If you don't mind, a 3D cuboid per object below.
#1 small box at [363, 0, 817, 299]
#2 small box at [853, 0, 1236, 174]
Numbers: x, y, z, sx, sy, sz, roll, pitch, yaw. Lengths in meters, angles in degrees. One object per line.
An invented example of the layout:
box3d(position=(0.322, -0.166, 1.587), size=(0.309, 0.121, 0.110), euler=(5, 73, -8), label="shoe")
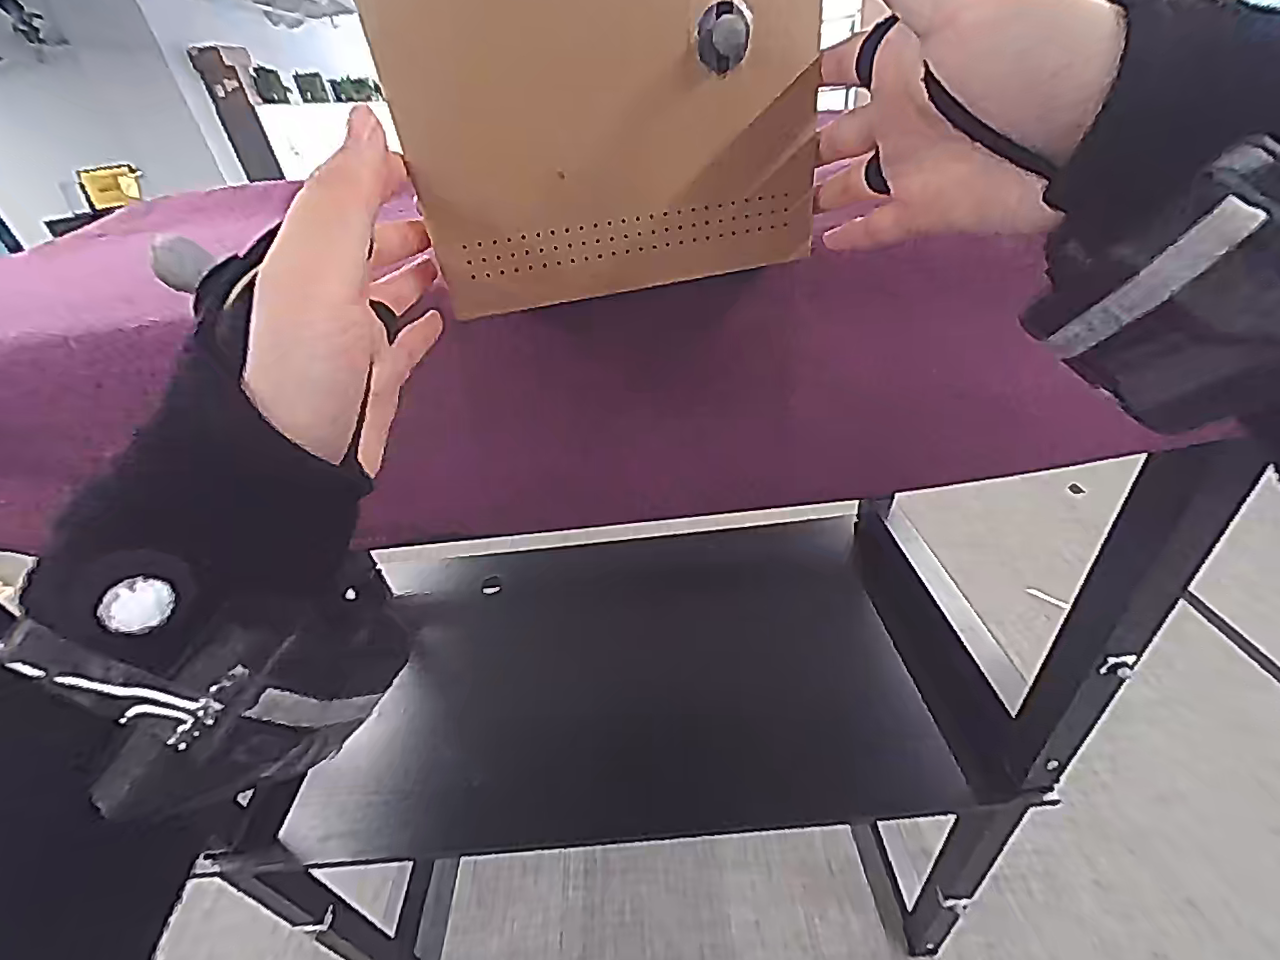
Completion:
box3d(position=(-0.024, -0.207, 0.274), size=(0.179, 0.176, 0.168), euler=(-13, 34, -5), label="small box")
box3d(position=(0.268, -0.328, 0.378), size=(0.179, 0.176, 0.168), euler=(-6, 34, 4), label="small box")
